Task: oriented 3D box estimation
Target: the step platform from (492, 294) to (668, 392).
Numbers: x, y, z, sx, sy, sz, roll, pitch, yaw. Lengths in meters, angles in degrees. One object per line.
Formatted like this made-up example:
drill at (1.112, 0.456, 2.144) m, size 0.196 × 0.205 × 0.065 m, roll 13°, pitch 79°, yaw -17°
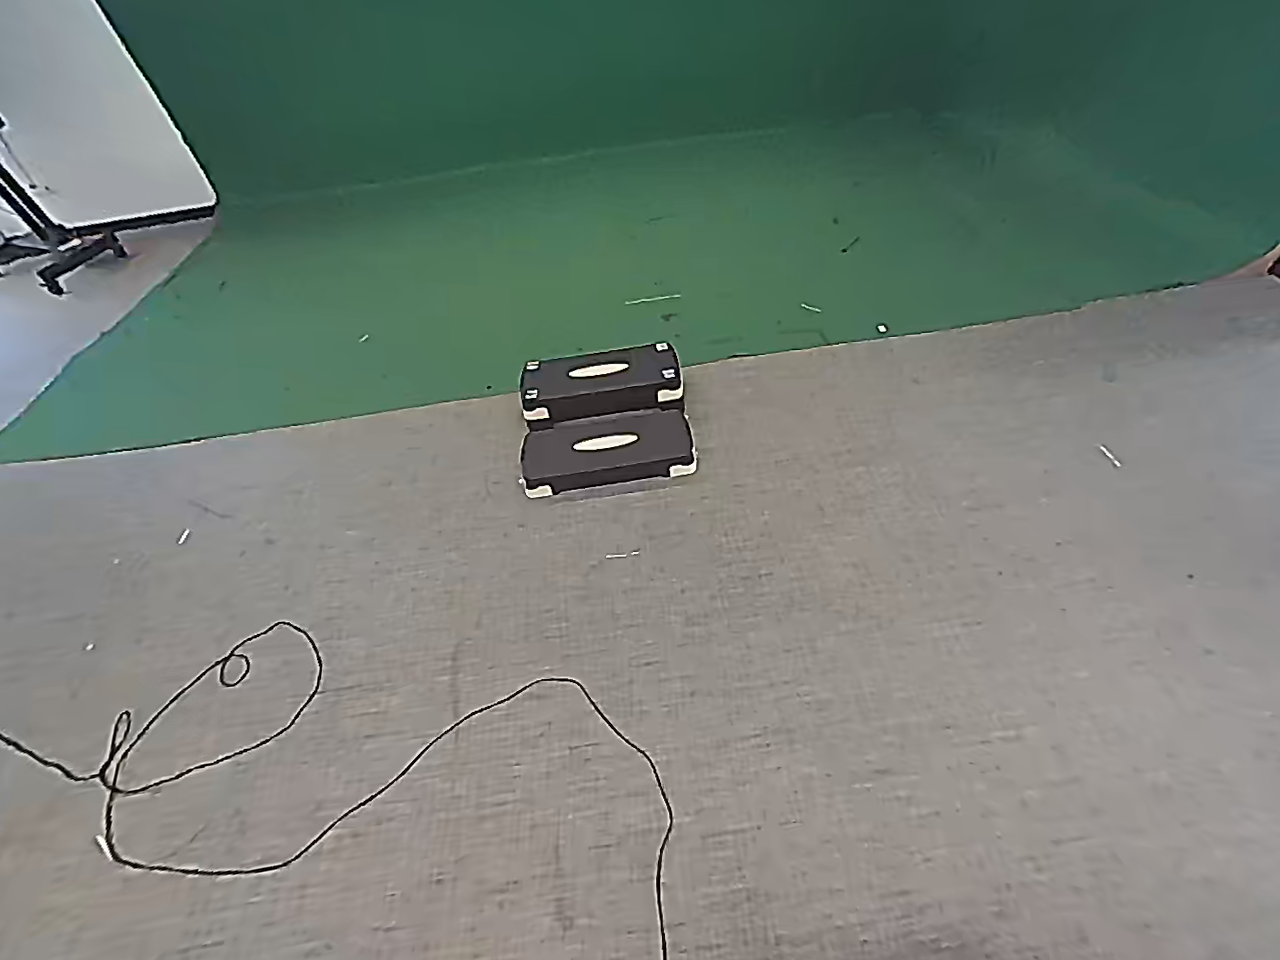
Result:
step platform at (-0.231, -0.551, 2.172) m, size 0.684 × 0.204 × 0.286 m, roll -9°, pitch 48°, yaw 0°
